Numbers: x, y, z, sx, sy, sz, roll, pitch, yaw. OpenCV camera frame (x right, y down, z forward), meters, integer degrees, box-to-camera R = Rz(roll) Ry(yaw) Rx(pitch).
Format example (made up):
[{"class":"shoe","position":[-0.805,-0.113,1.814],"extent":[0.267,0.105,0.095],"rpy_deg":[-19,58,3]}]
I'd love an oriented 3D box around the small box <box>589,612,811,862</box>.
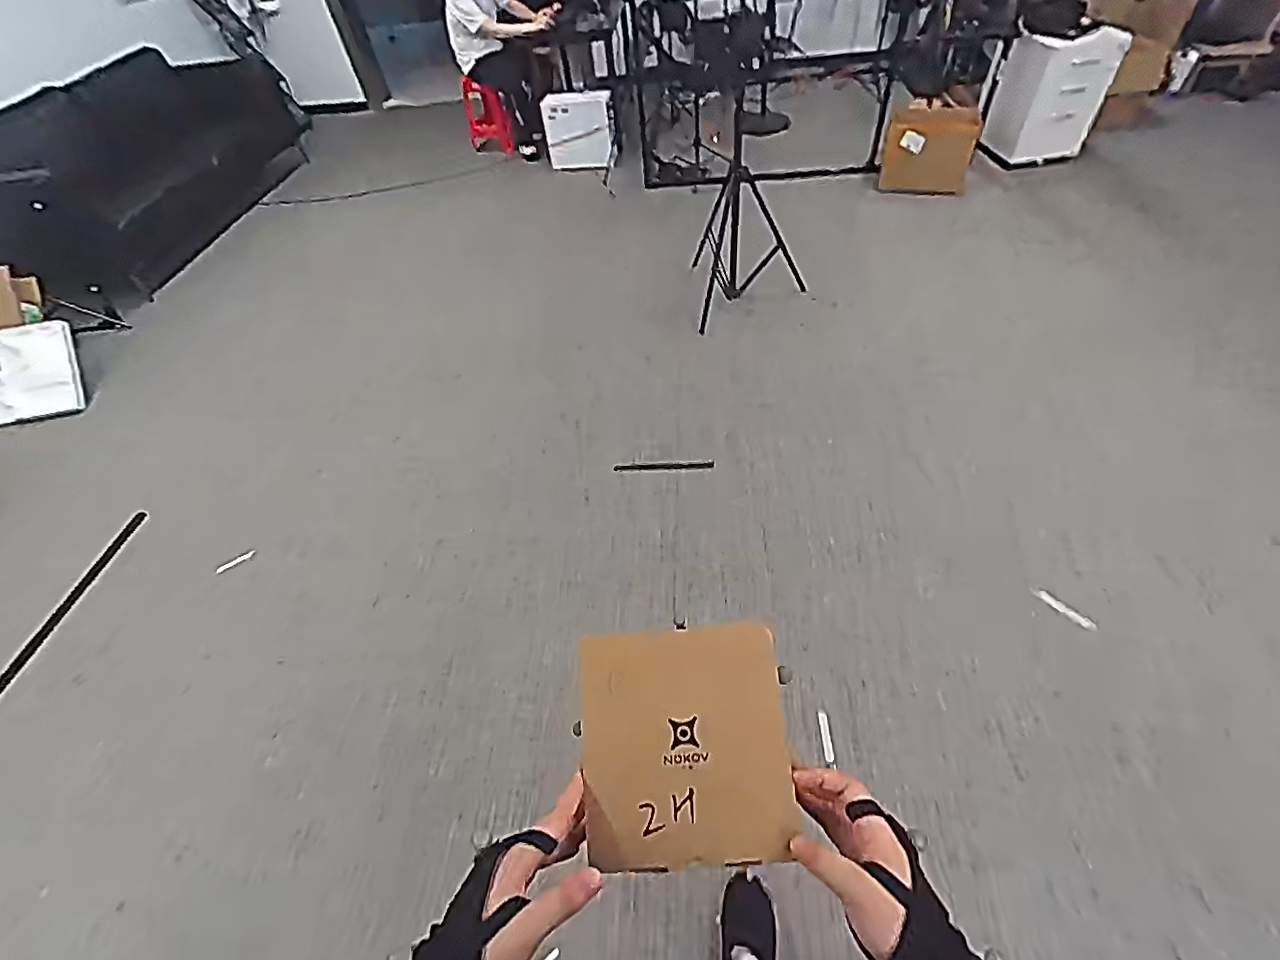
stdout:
[{"class":"small box","position":[0.047,0.221,0.507],"extent":[0.168,0.176,0.179],"rpy_deg":[-6,75,3]}]
